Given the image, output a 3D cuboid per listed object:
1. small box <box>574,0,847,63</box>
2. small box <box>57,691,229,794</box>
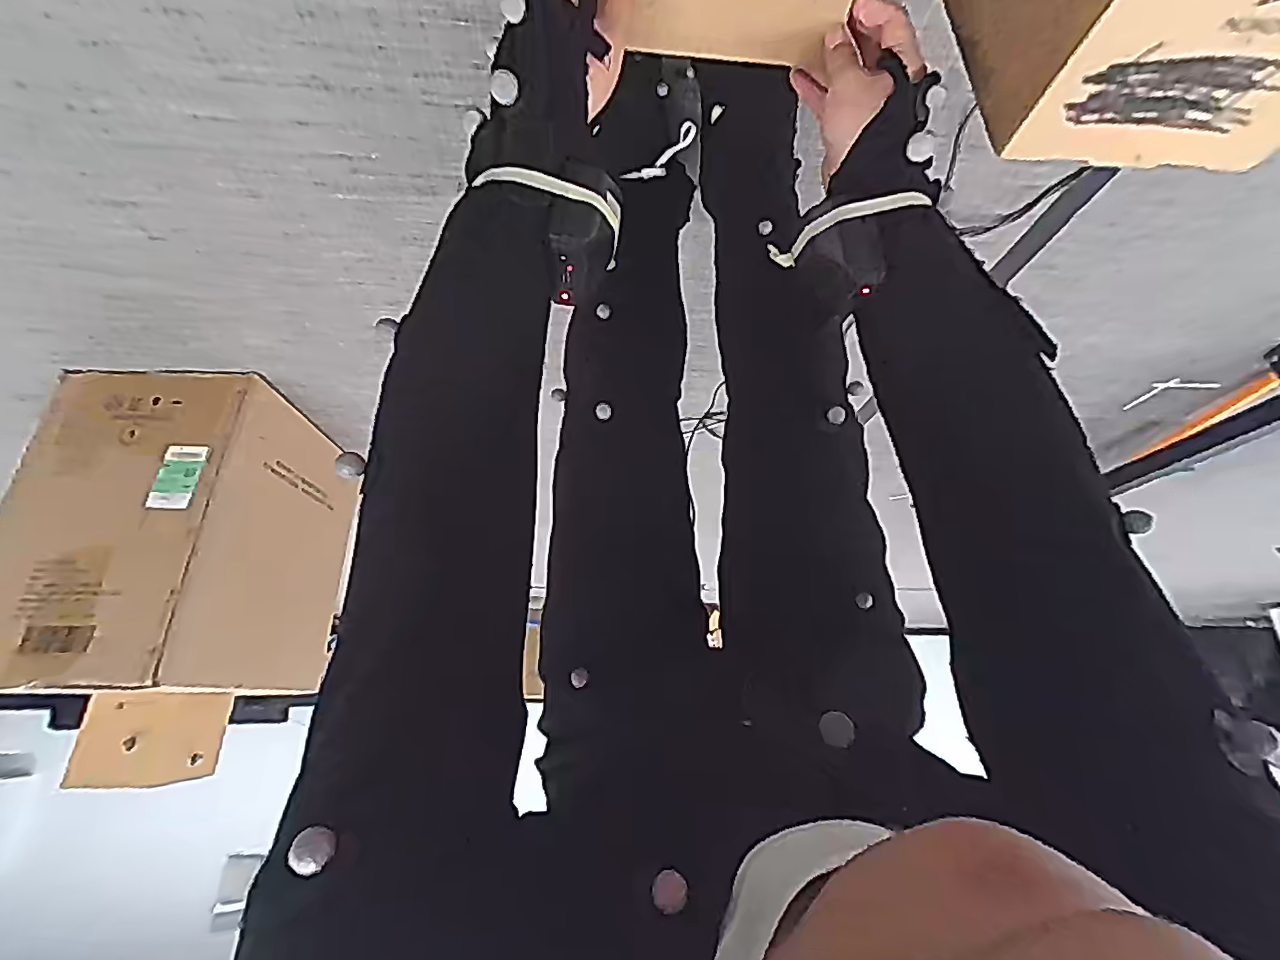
[{"bbox_3d":[0.051,-0.401,0.326,0.179,0.176,0.168,1,159,-6],"label":"small box"},{"bbox_3d":[-0.984,0.521,1.090,0.168,0.176,0.179,0,159,-2],"label":"small box"}]
